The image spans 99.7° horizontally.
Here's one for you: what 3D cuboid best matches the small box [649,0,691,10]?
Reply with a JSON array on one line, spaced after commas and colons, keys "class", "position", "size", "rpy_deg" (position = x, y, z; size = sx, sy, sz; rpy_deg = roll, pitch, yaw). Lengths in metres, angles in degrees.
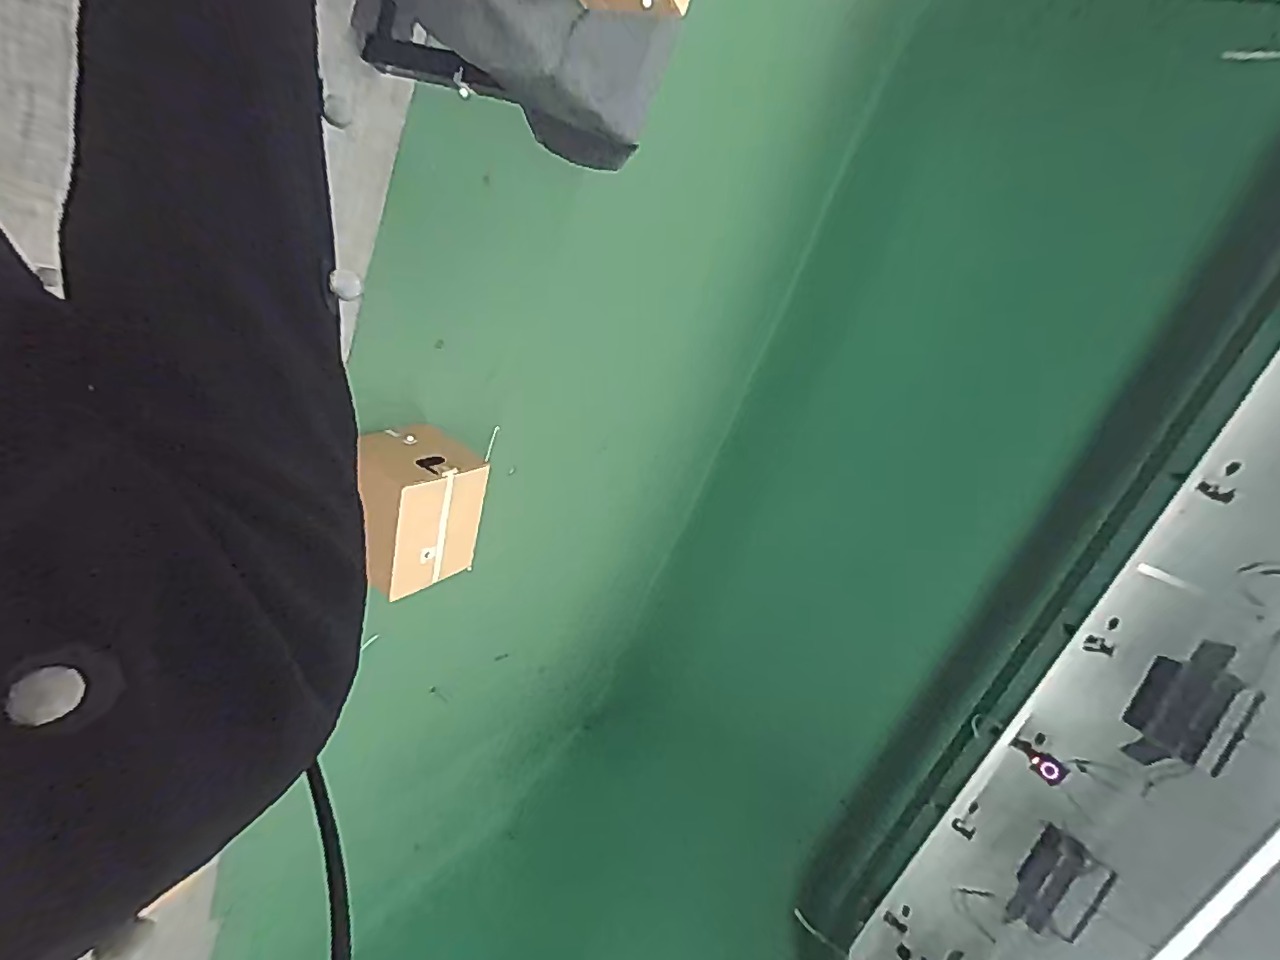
[{"class": "small box", "position": [-0.018, -0.679, 0.602], "size": [0.179, 0.176, 0.168], "rpy_deg": [-4, 120, -63]}]
